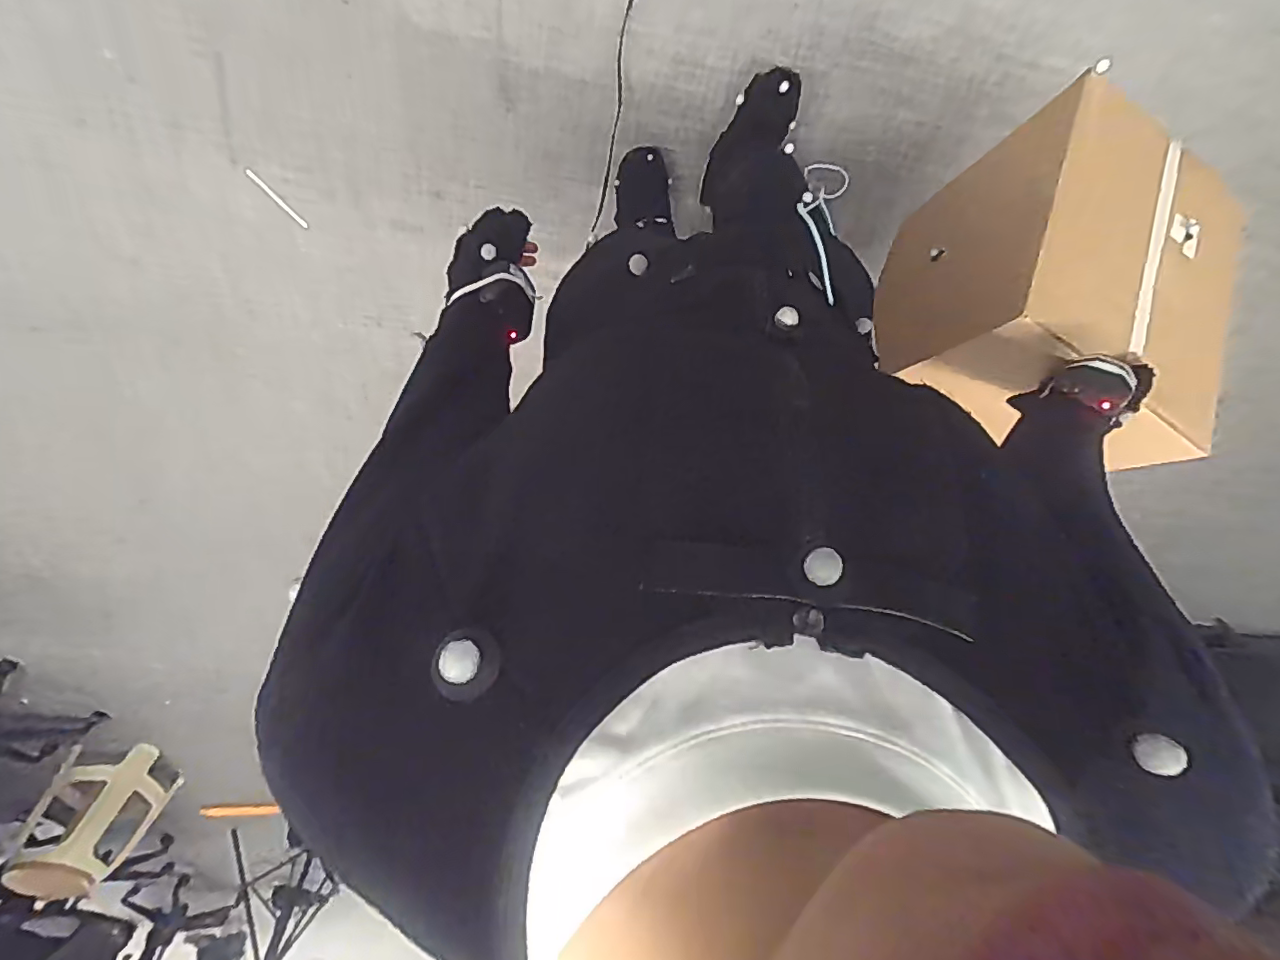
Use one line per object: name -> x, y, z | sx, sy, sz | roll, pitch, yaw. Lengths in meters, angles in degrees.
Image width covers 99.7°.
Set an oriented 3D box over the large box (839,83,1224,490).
large box -> 0.563, -0.245, 0.807 | 0.320, 0.408, 0.320 | 29, 162, -13
